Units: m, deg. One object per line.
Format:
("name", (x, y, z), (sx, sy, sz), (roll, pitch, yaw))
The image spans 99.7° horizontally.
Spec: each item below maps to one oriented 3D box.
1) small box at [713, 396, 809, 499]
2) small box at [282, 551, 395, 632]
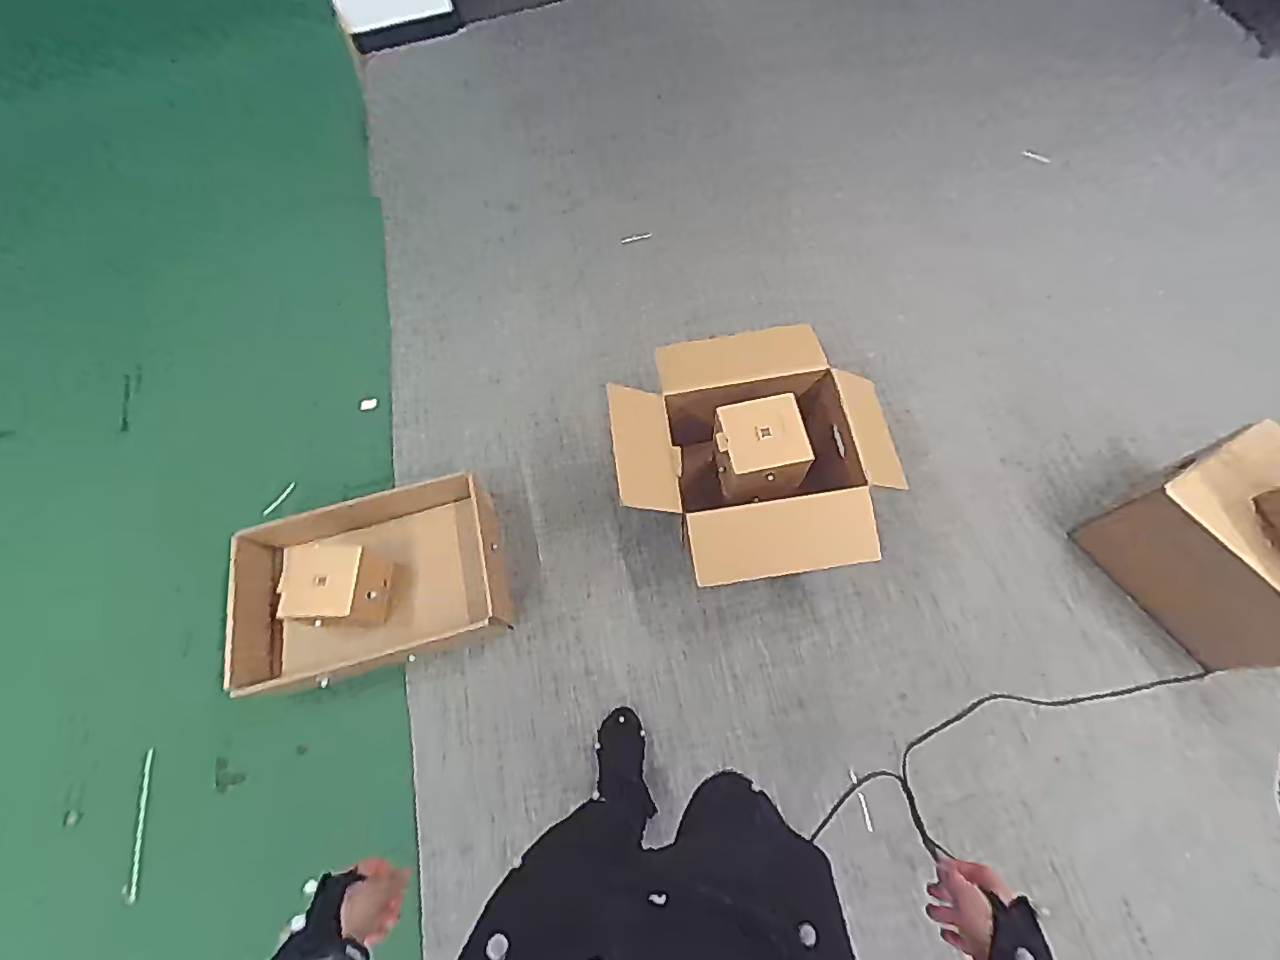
("small box", (0.270, -0.069, 1.256), (0.179, 0.176, 0.168), (-12, 68, -1))
("small box", (-0.735, 0.279, 1.341), (0.179, 0.176, 0.168), (-3, 66, 3))
